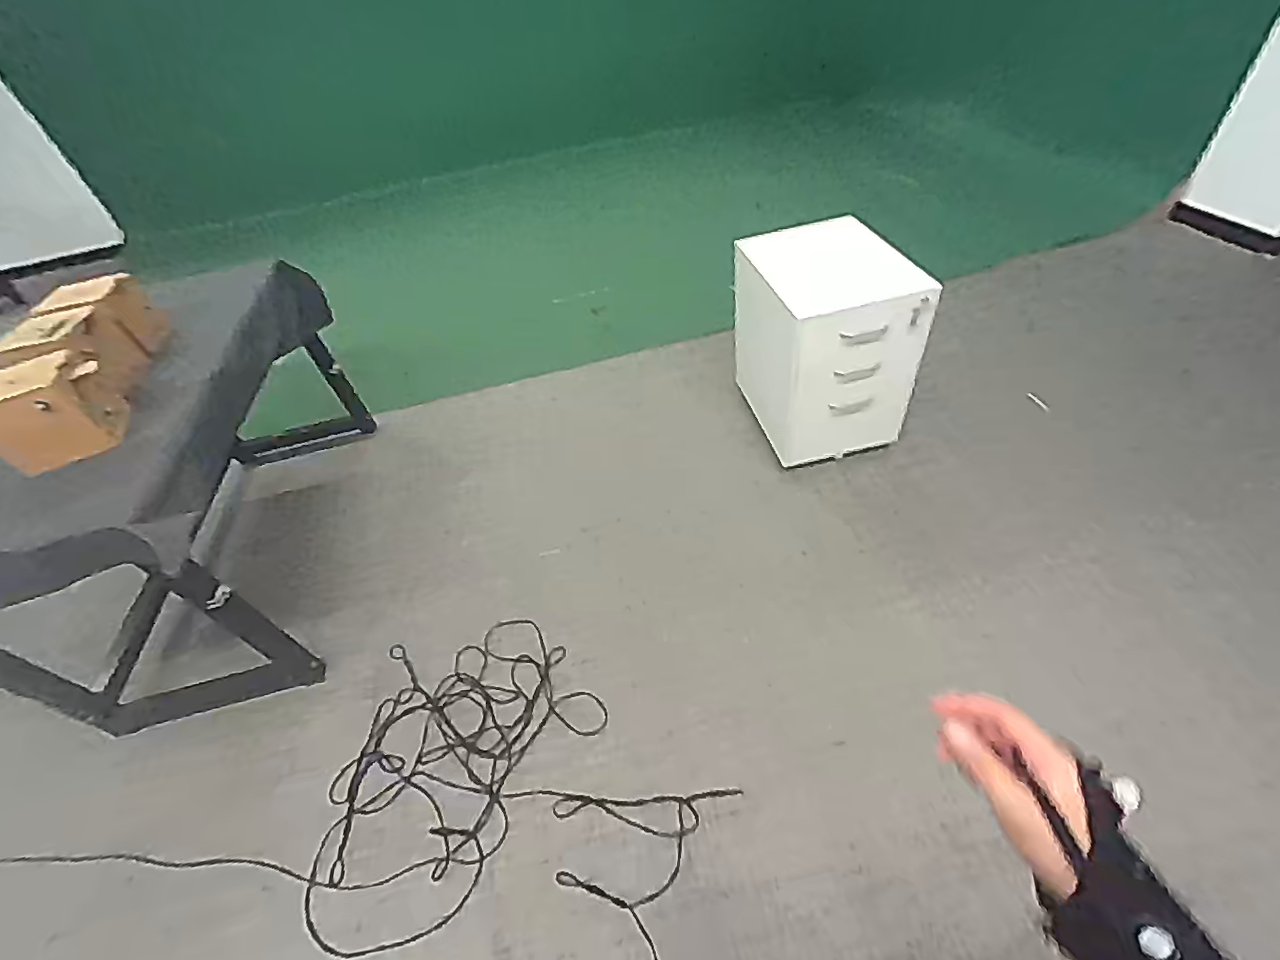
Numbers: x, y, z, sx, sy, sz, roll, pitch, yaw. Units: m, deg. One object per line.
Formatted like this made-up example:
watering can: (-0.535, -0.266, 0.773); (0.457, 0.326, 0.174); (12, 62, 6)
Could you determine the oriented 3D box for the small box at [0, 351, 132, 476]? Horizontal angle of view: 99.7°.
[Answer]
small box: (-1.244, -0.138, 1.141); (0.179, 0.176, 0.168); (-25, 47, -14)
